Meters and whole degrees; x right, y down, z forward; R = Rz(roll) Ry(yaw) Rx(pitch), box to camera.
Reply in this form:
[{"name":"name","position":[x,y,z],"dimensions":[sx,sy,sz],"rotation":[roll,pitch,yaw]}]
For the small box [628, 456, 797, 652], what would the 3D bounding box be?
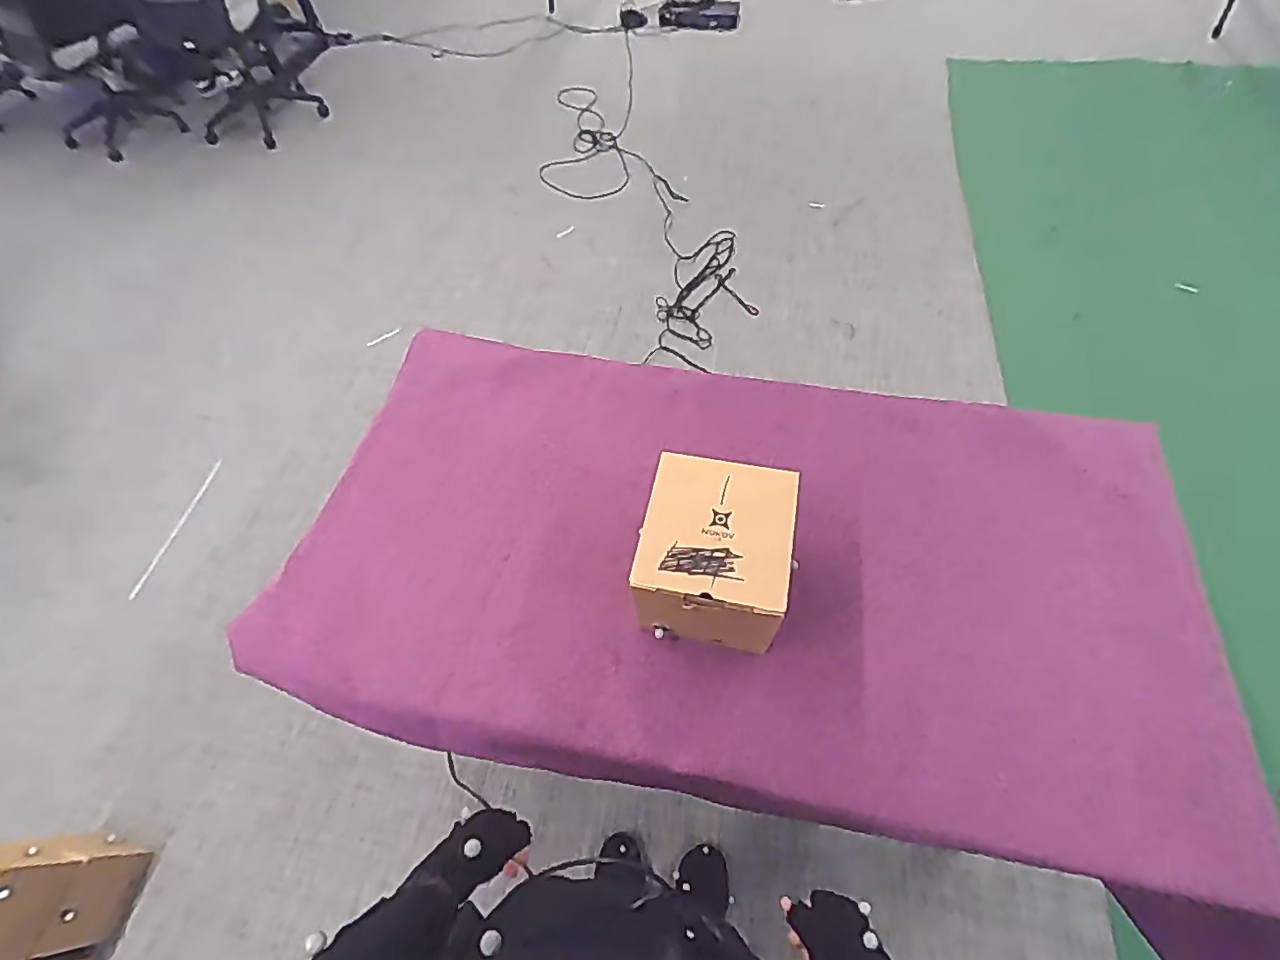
[{"name":"small box","position":[0.091,0.098,0.676],"dimensions":[0.168,0.176,0.179],"rotation":[10,59,10]}]
